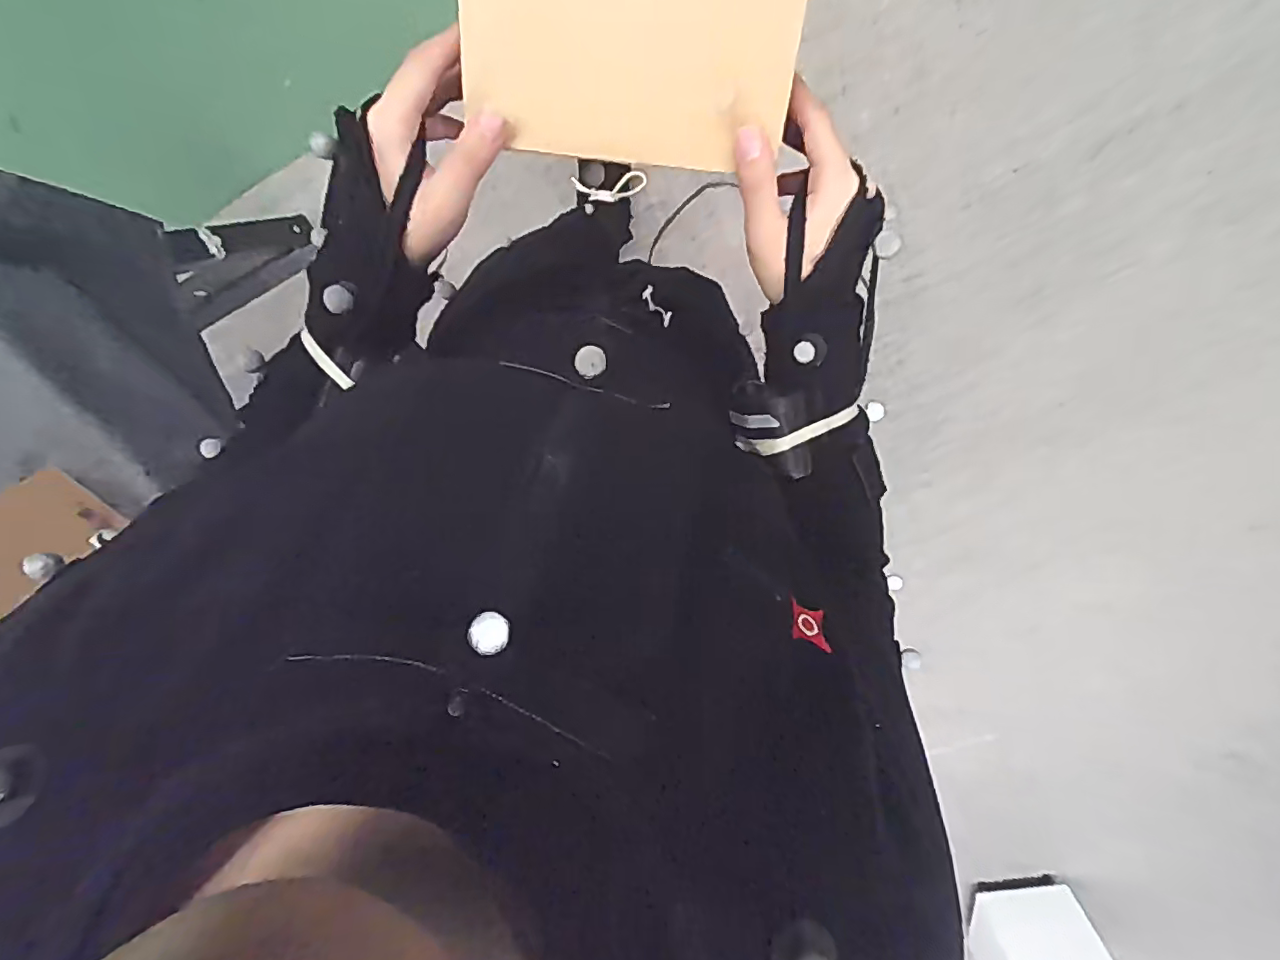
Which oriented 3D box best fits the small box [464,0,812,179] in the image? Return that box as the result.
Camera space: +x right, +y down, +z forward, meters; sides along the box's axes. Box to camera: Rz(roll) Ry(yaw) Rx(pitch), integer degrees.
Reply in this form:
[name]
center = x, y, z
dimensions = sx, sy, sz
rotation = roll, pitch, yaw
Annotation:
[small box]
center = 0.004, -0.282, 0.311
dimensions = 0.168, 0.176, 0.179
rotation = 5, 119, -2
